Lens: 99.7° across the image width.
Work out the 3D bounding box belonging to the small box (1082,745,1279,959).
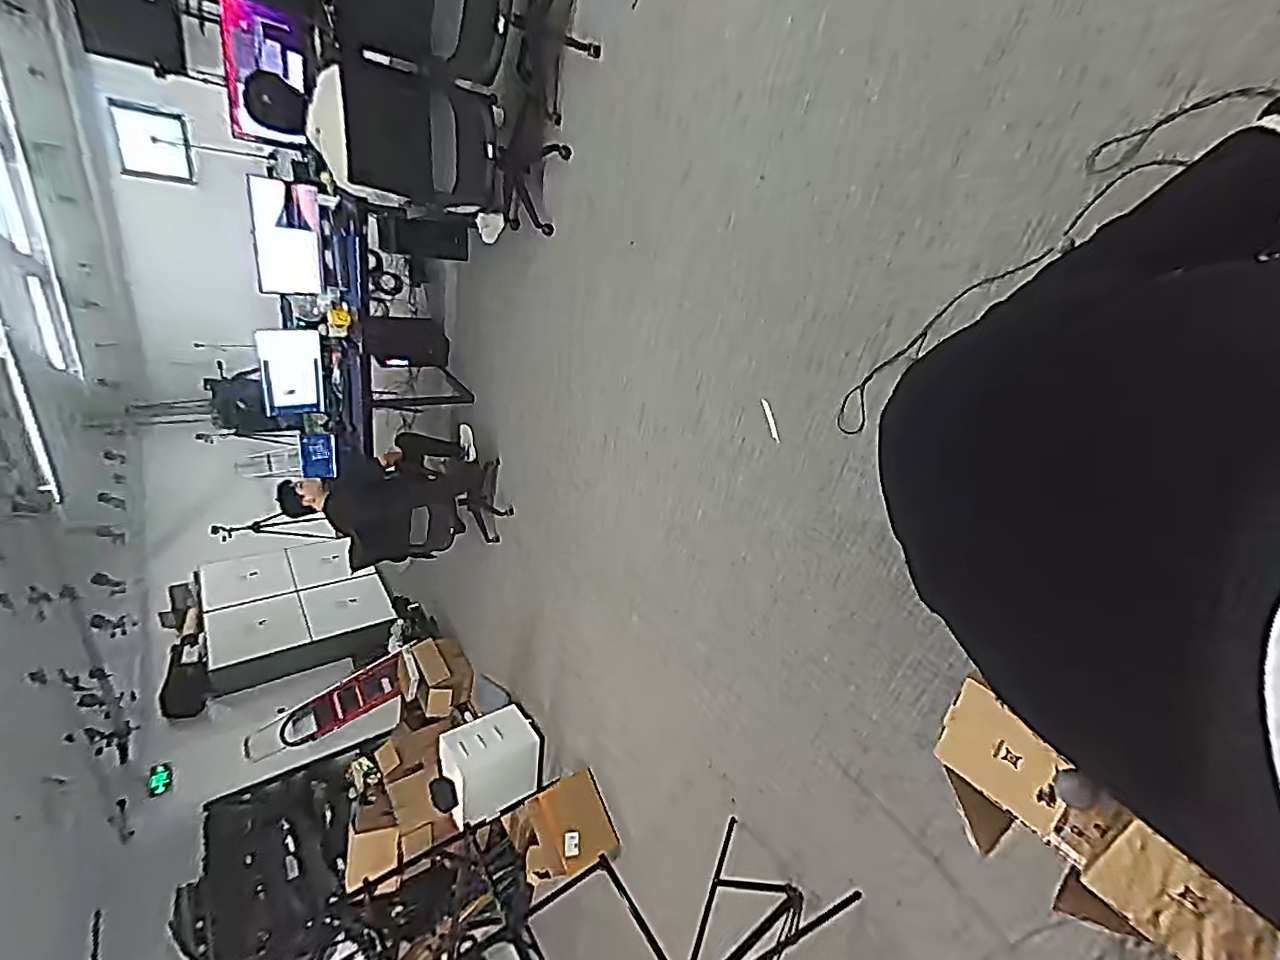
[{"bbox_3d":[0.760,0.511,0.740,0.168,0.176,0.179,34,119,40],"label":"small box"}]

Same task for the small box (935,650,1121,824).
[{"bbox_3d":[0.629,0.400,0.882,0.179,0.176,0.168,31,119,45],"label":"small box"}]
